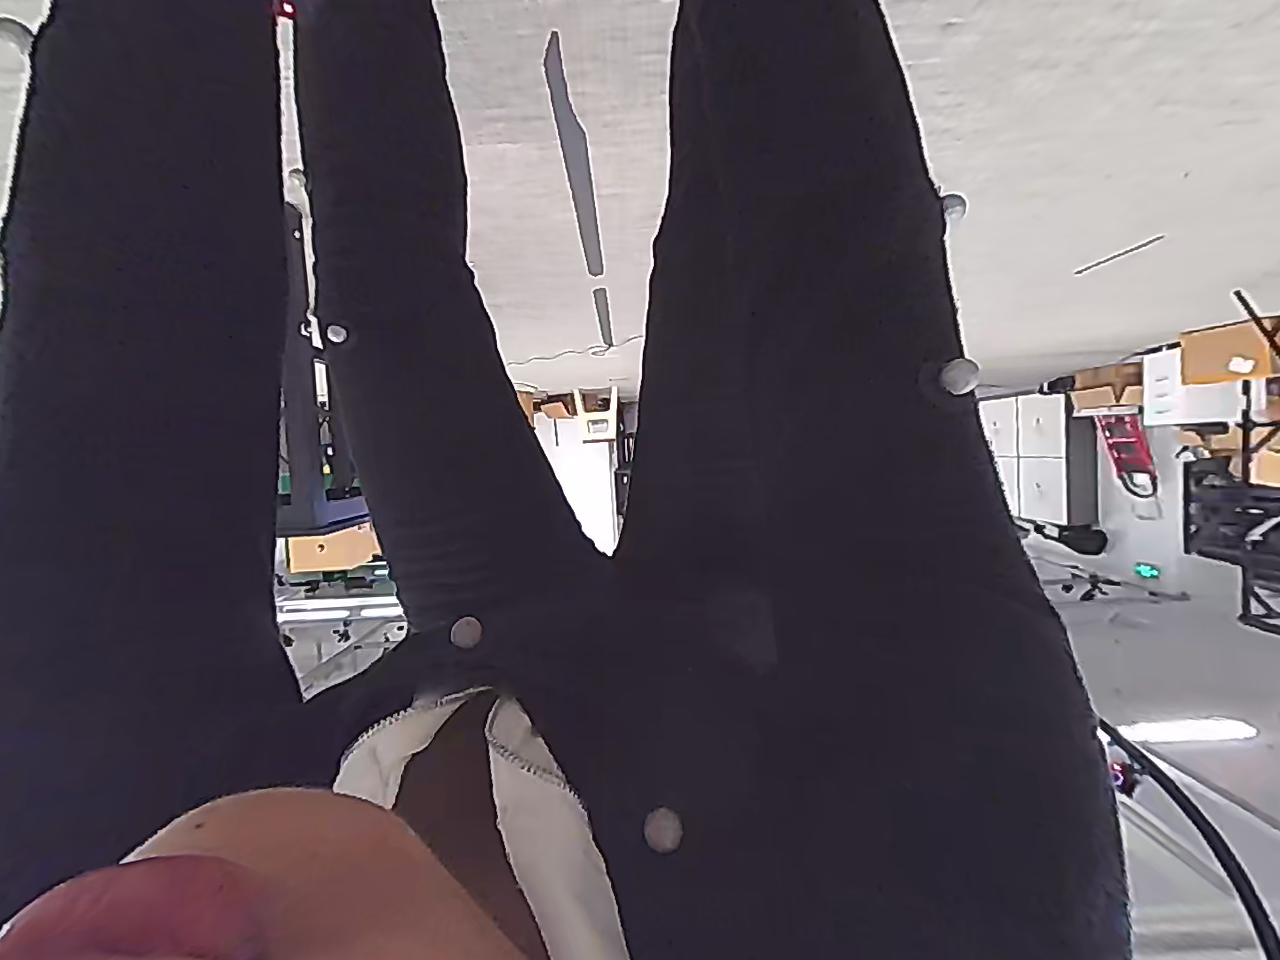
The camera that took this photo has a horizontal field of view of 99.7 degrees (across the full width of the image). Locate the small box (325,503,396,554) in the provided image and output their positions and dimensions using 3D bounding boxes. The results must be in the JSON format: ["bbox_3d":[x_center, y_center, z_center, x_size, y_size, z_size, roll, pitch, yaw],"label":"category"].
[{"bbox_3d":[-1.005,0.172,1.948,0.179,0.176,0.168,-2,-178,0],"label":"small box"}]

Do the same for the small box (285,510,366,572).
[{"bbox_3d":[-0.986,0.185,1.700,0.179,0.176,0.168,-4,-177,-5],"label":"small box"}]
